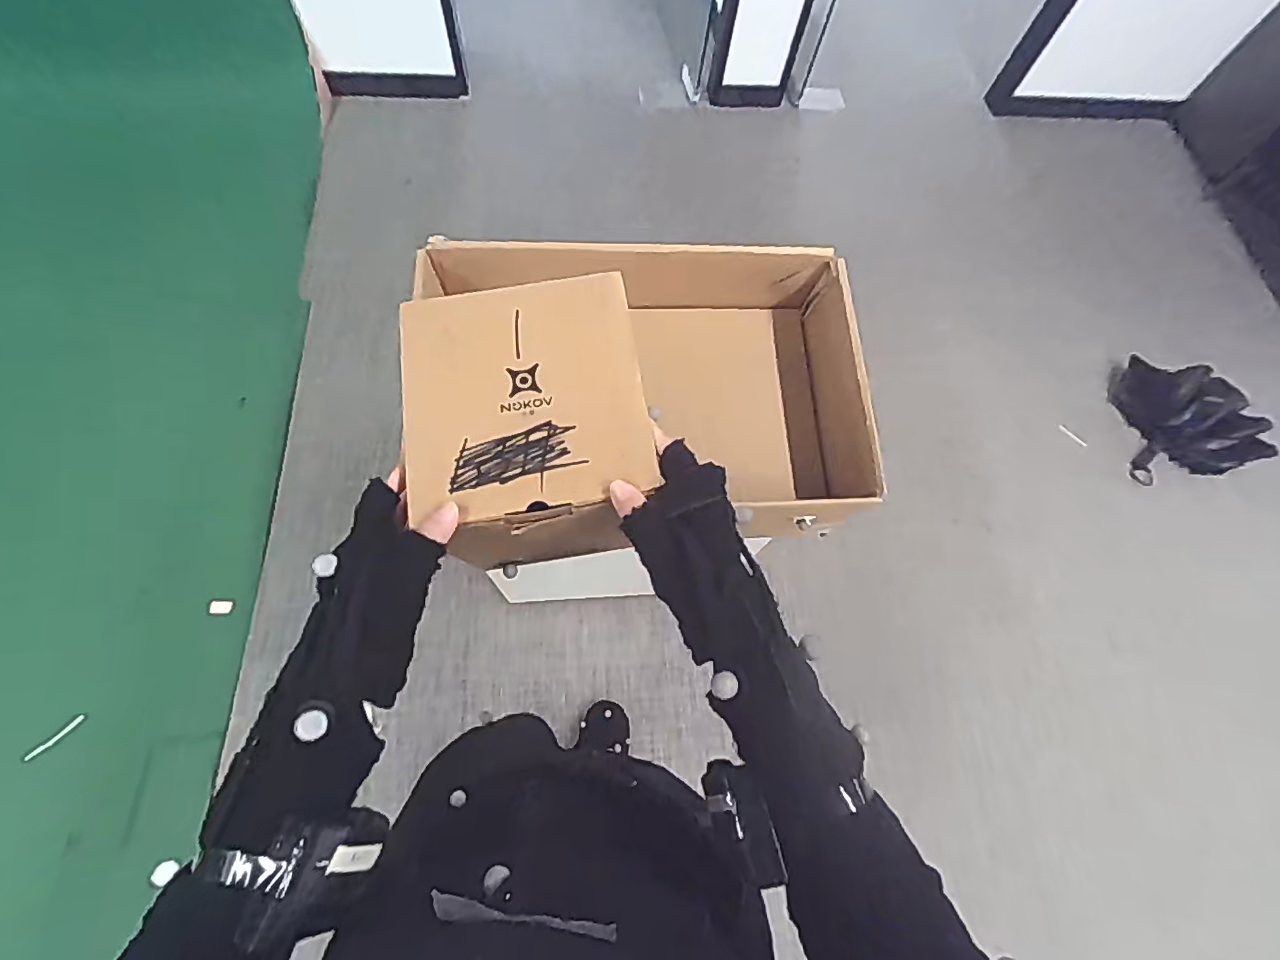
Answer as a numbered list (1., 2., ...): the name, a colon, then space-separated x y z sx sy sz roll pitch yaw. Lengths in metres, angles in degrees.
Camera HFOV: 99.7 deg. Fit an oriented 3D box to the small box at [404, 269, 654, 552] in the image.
1. small box: -0.080 -0.042 0.455 0.168 0.176 0.179 -9 72 -2
